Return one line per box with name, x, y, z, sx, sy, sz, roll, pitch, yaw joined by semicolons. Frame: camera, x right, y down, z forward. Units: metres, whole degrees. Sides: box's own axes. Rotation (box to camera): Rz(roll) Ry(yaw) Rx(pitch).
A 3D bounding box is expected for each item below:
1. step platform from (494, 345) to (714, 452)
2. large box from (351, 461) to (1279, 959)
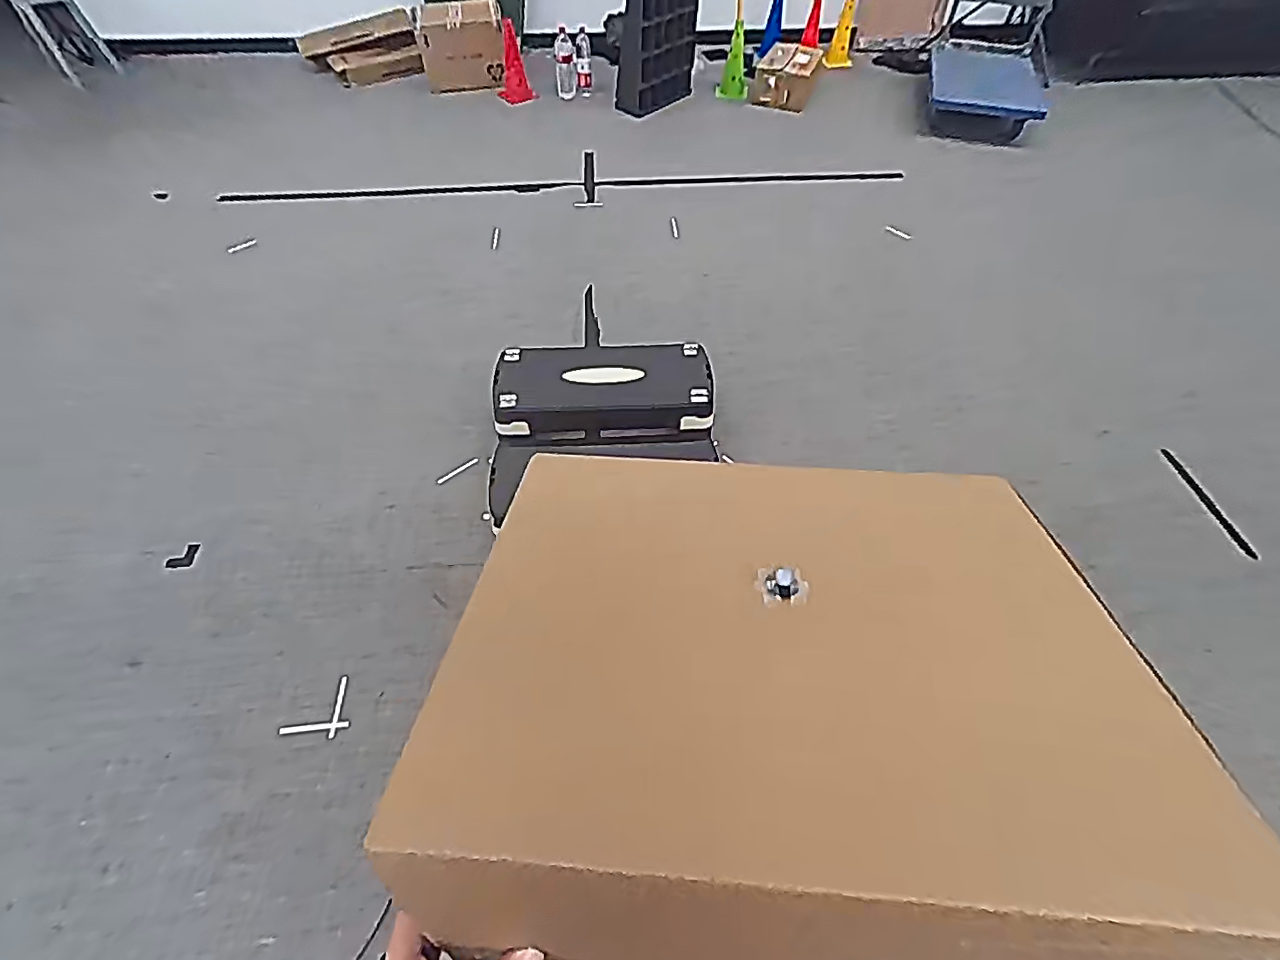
step platform;-0.108;-0.263;1.713;0.684;0.204;0.286;2;55;0
large box;0.078;0.194;0.436;0.408;0.320;0.320;1;39;4
